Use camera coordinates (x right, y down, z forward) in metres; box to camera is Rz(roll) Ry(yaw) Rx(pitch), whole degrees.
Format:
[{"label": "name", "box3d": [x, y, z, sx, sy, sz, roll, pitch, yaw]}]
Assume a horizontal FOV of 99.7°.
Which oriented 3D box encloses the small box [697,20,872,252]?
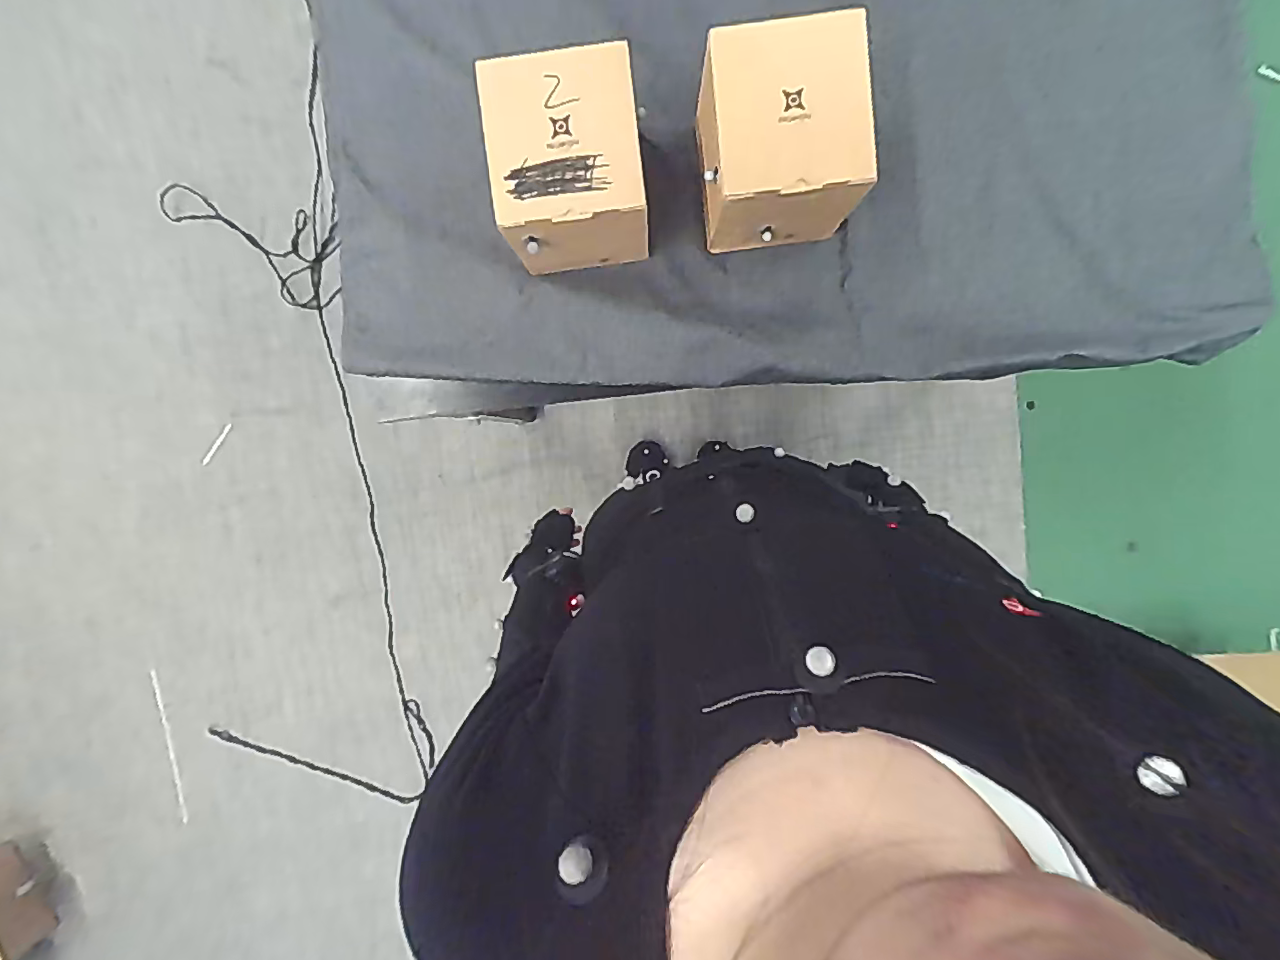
[{"label": "small box", "box3d": [0.165, -0.405, 0.665, 0.168, 0.176, 0.179, -6, 95, 2]}]
